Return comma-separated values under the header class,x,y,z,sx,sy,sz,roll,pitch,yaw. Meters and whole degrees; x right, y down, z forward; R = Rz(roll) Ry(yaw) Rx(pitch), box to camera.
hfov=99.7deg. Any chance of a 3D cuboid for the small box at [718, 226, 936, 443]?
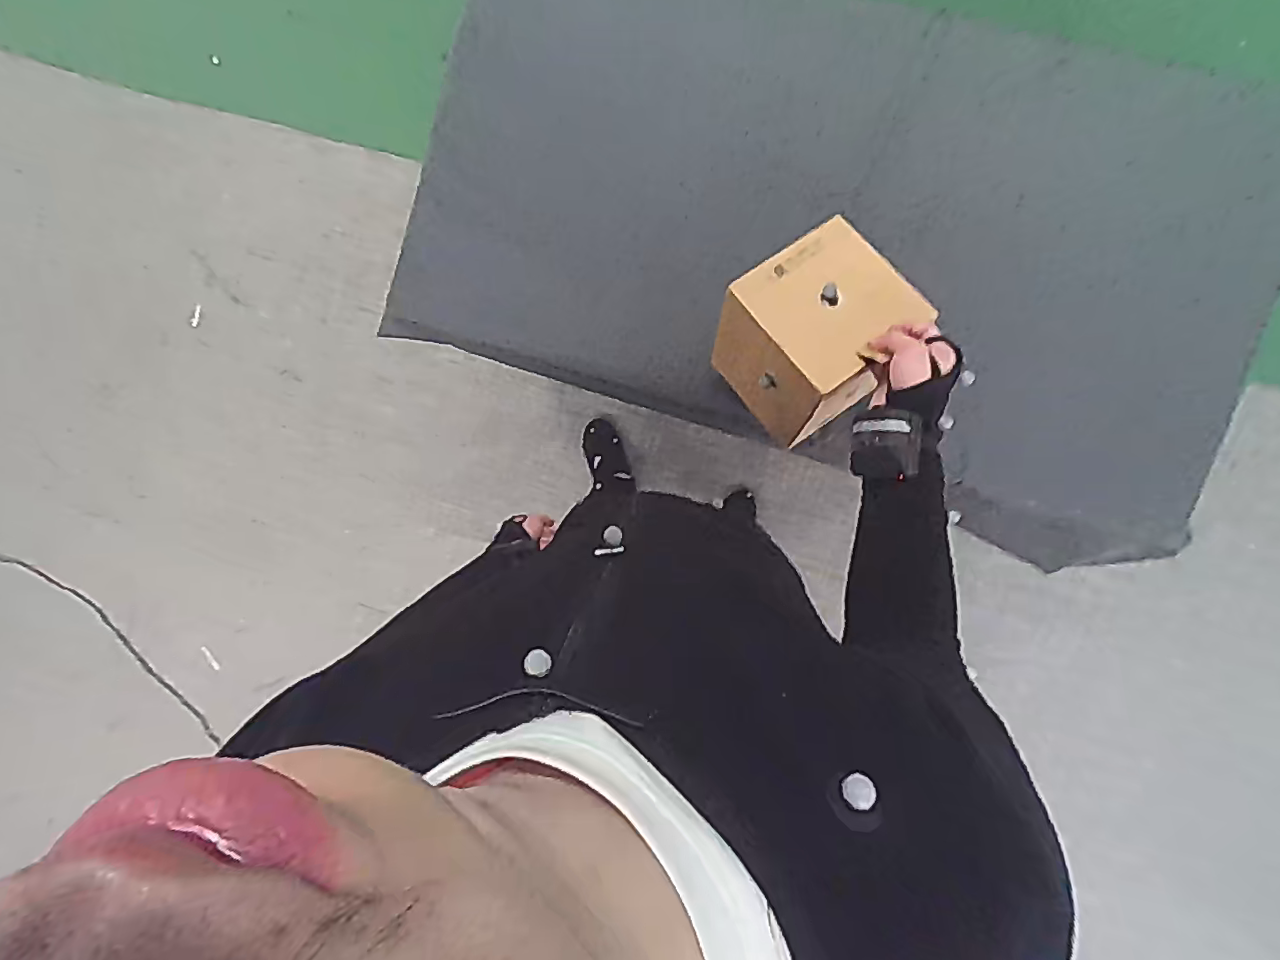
class,x,y,z,sx,sy,sz,roll,pitch,yaw
small box,0.213,-0.180,0.671,0.168,0.179,0.176,-38,76,-5
